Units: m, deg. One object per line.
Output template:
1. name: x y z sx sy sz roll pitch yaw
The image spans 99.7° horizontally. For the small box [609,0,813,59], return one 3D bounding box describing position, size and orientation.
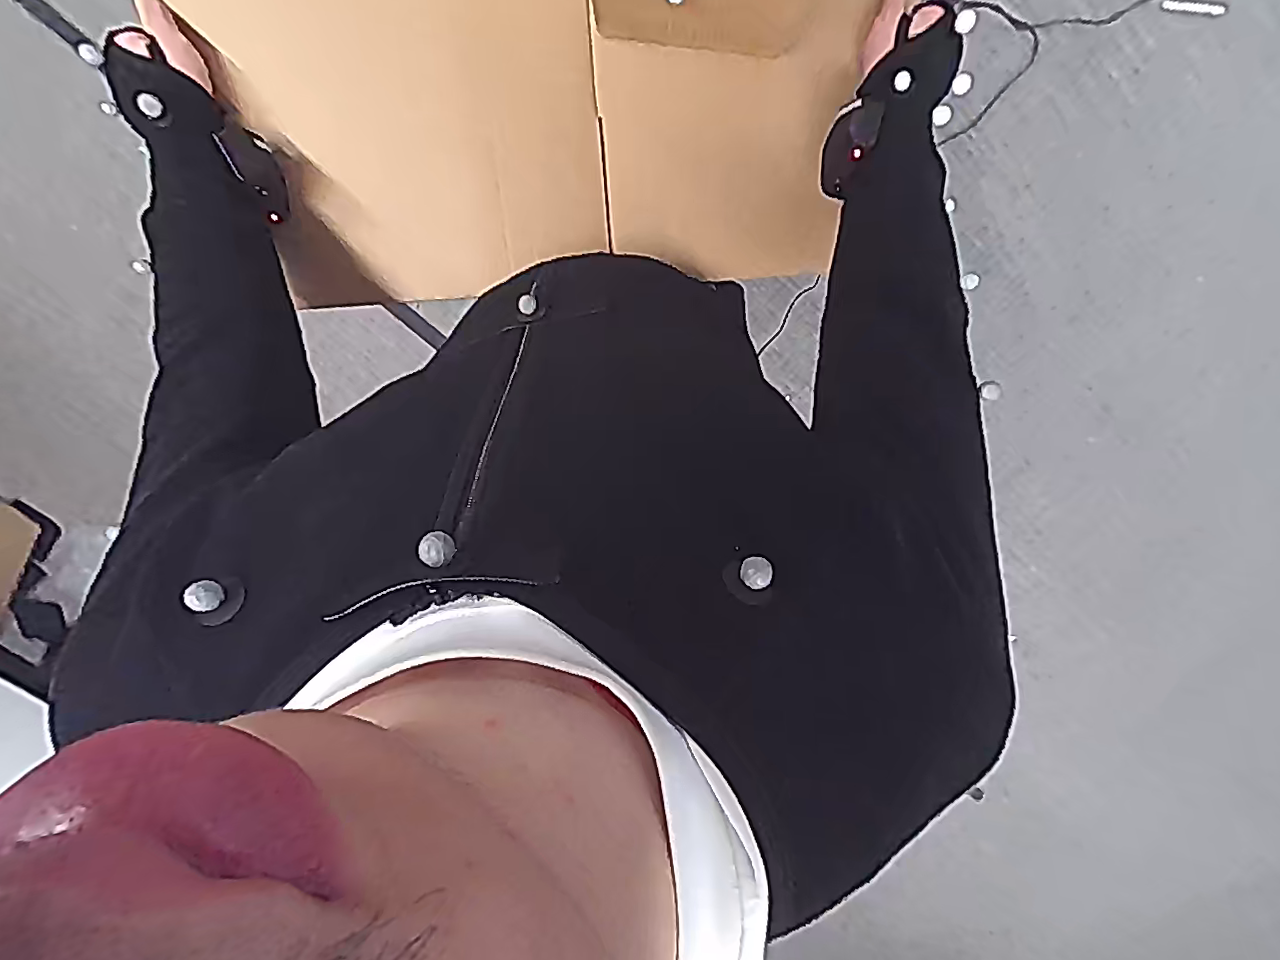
1. small box: 0.065 -0.462 0.416 0.179 0.176 0.168 8 106 0
